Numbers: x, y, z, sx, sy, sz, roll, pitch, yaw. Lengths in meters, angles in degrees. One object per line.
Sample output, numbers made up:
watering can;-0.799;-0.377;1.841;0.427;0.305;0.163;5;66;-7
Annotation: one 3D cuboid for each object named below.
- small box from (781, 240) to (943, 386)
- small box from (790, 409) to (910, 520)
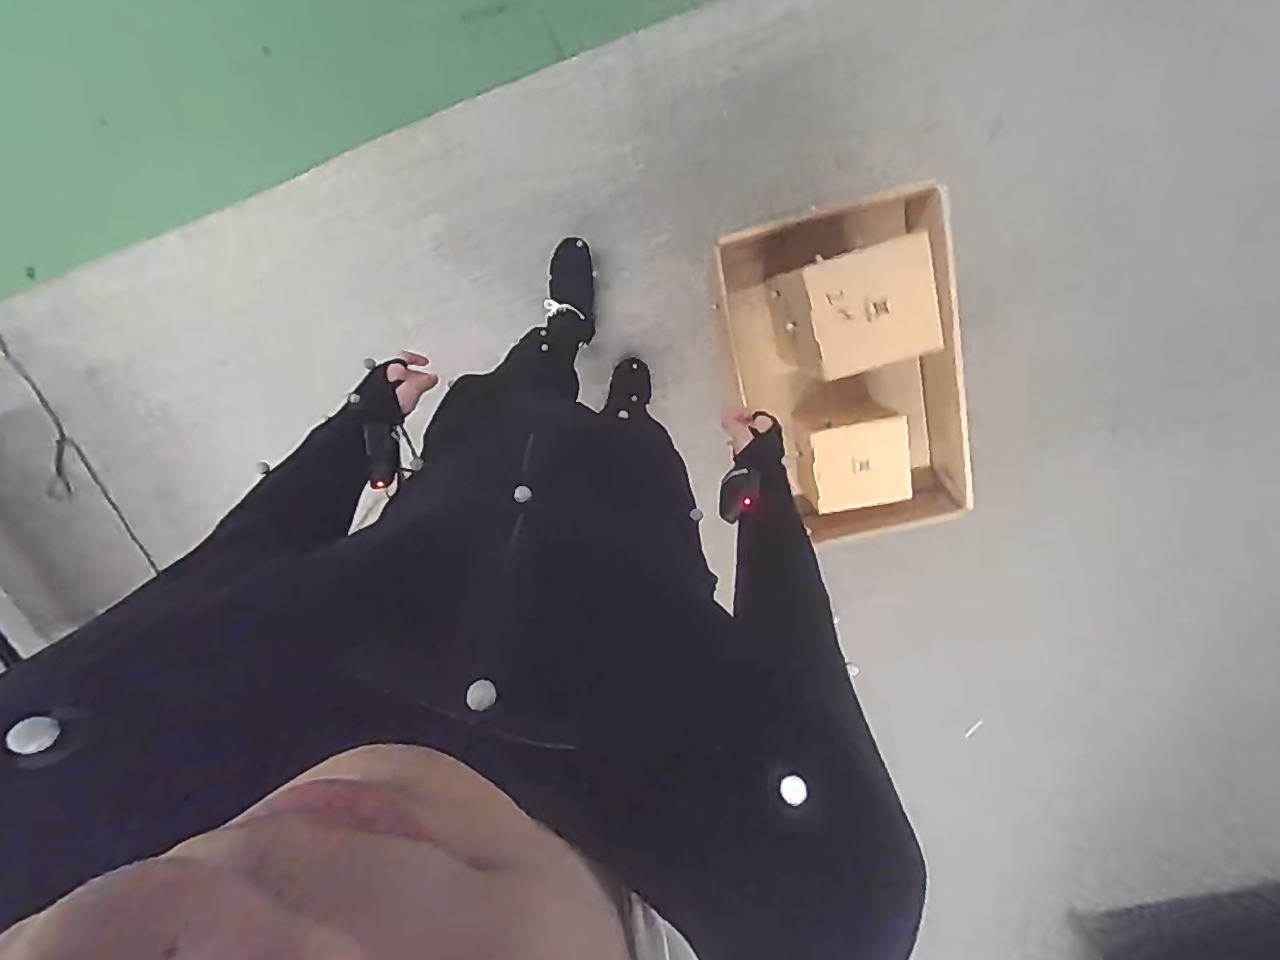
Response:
small box;0.337;-0.258;0.844;0.179;0.176;0.168;-15;105;7
small box;0.414;-0.037;1.082;0.179;0.176;0.168;-10;107;6
